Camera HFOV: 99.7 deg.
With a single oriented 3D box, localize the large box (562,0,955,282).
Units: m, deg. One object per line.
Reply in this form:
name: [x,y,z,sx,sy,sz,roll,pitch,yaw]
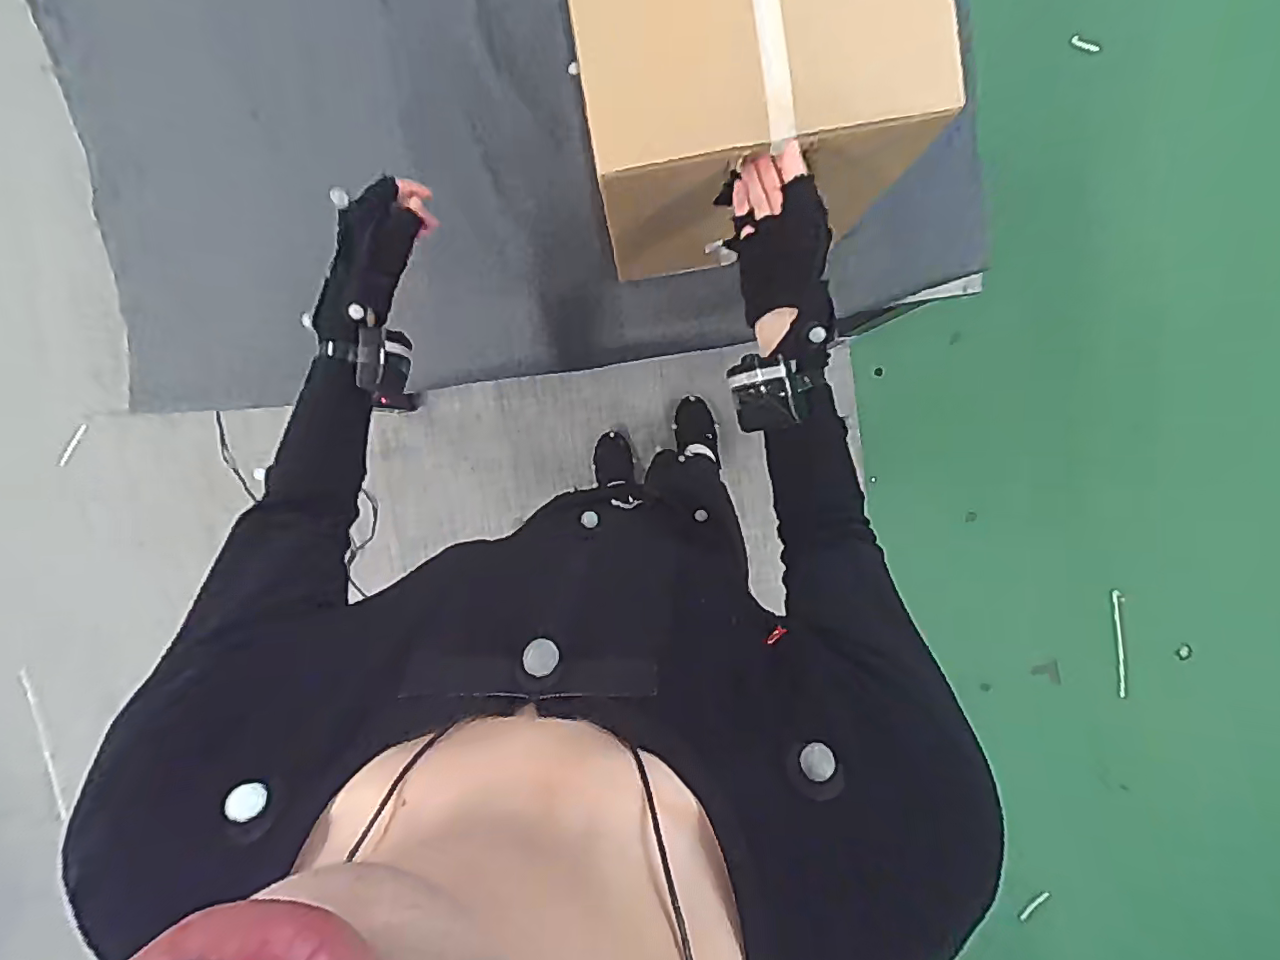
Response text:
large box: [0.085,-0.486,0.594,0.320,0.320,0.408,-9,93,2]
